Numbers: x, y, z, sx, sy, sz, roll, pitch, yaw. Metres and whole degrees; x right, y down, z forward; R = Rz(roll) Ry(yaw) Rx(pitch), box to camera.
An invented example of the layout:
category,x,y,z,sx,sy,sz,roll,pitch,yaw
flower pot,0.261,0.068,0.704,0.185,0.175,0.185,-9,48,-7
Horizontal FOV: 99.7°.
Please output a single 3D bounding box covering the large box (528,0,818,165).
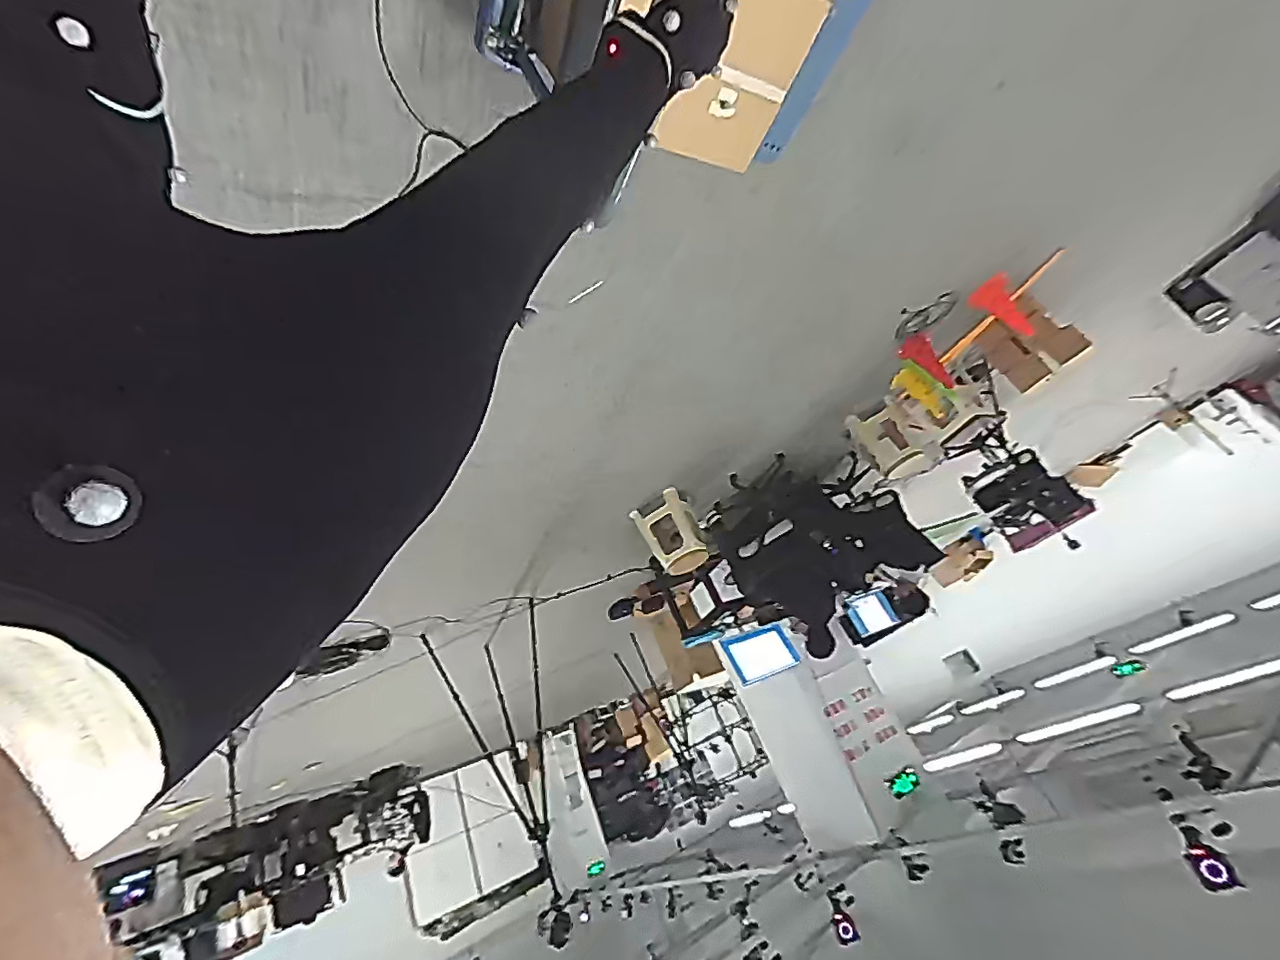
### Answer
category,x,y,z,sx,sy,sz,roll,pitch,yaw
large box,0.044,-0.881,1.049,0.408,0.320,0.320,-8,148,-34
